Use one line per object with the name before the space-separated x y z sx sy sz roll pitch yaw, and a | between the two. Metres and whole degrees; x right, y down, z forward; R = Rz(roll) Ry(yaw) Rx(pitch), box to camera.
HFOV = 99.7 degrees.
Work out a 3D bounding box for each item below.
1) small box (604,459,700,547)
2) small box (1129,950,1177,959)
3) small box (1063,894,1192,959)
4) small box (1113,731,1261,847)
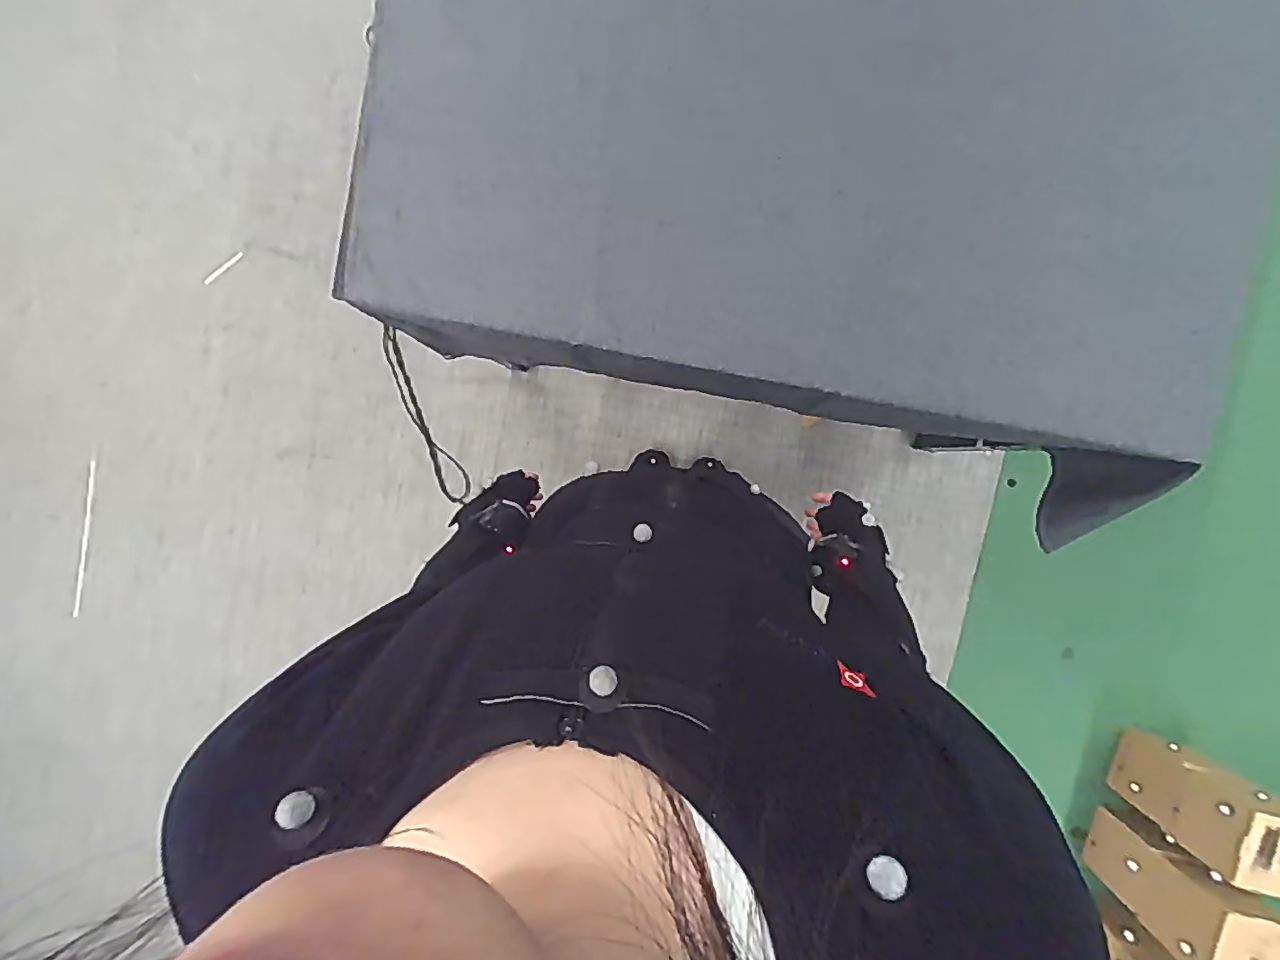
small box | 0.026 0.059 1.432 0.168 0.176 0.179 -44 73 16
small box | 1.227 1.217 1.214 0.179 0.176 0.168 11 94 4
small box | 1.240 1.208 1.377 0.179 0.176 0.168 12 94 4
small box | 1.347 0.756 1.347 0.179 0.176 0.168 16 94 3
